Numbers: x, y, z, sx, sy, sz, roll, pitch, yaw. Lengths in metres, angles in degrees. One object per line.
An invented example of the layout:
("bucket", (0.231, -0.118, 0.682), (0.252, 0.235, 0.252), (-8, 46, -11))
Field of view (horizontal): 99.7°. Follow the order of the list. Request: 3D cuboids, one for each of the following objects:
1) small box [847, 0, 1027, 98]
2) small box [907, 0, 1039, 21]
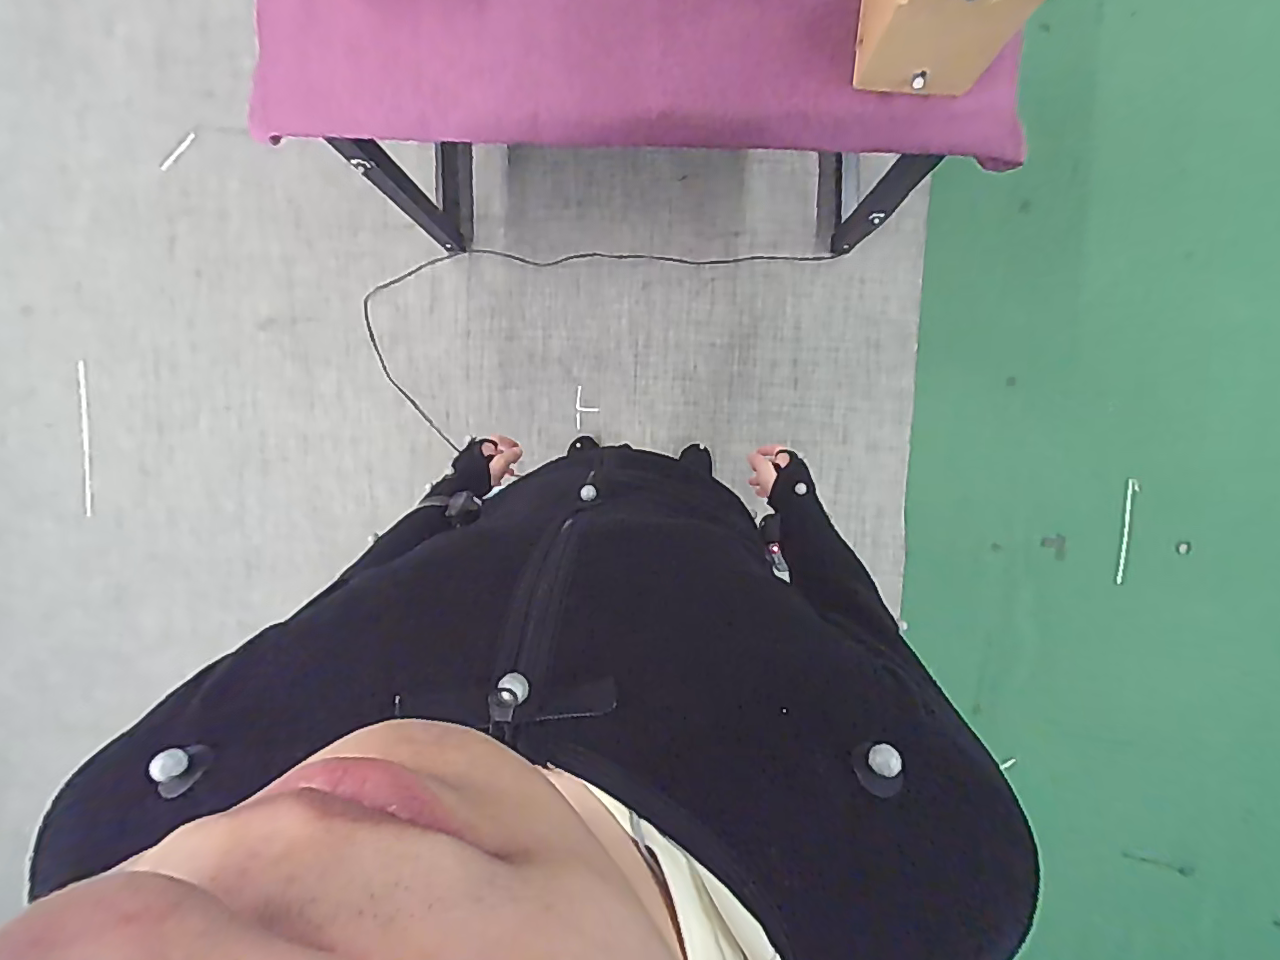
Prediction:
("small box", (0.421, -0.684, 0.772), (0.179, 0.176, 0.168), (5, 93, 1))
("small box", (0.419, -0.678, 0.609), (0.168, 0.176, 0.179), (5, 93, 3))
